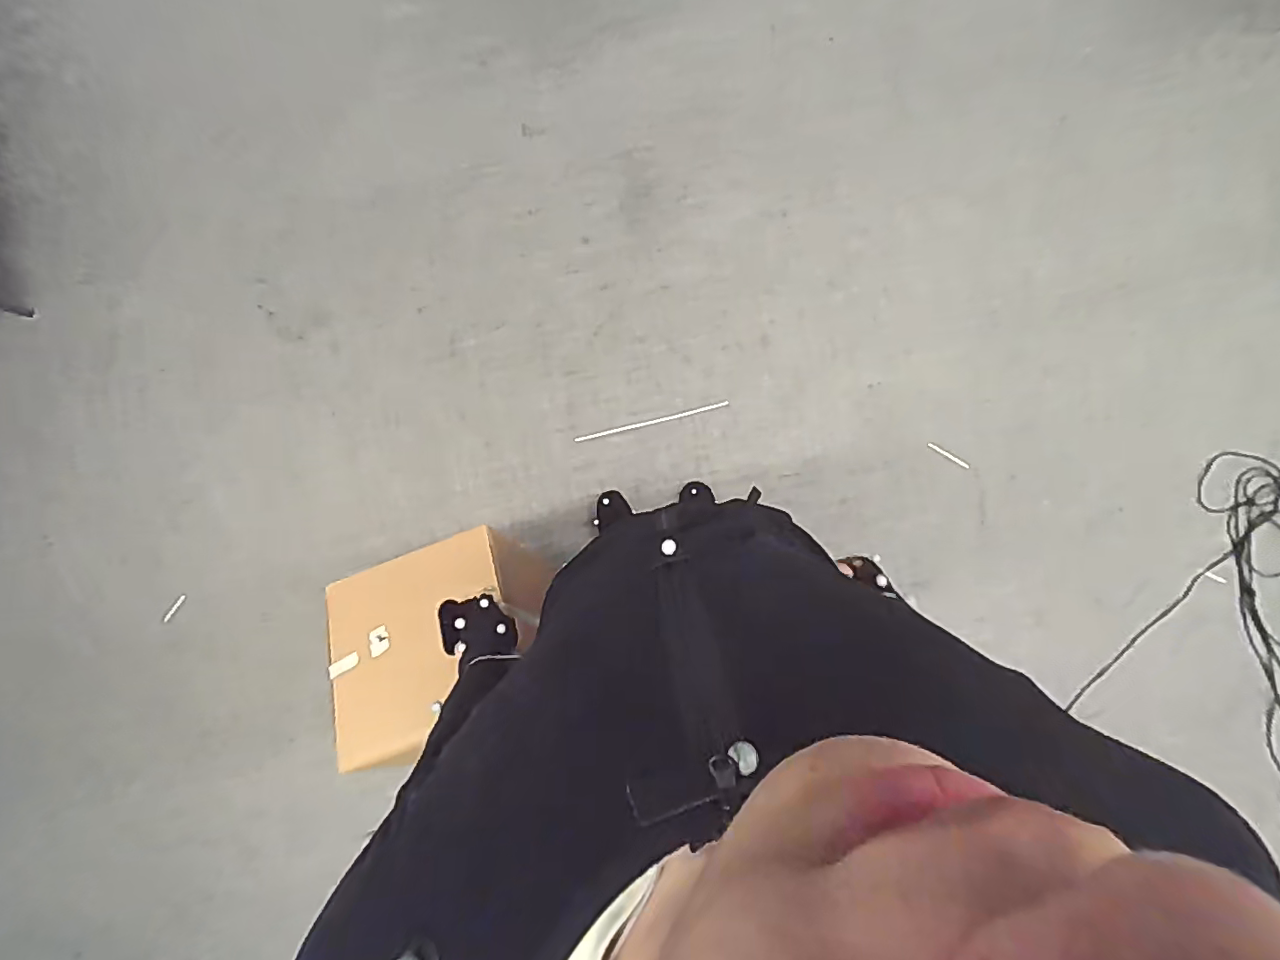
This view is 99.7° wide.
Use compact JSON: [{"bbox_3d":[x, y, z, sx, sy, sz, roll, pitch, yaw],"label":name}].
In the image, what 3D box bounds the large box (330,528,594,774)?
[{"bbox_3d":[-0.322,0.339,1.055,0.320,0.408,0.320,-21,65,2],"label":"large box"}]
